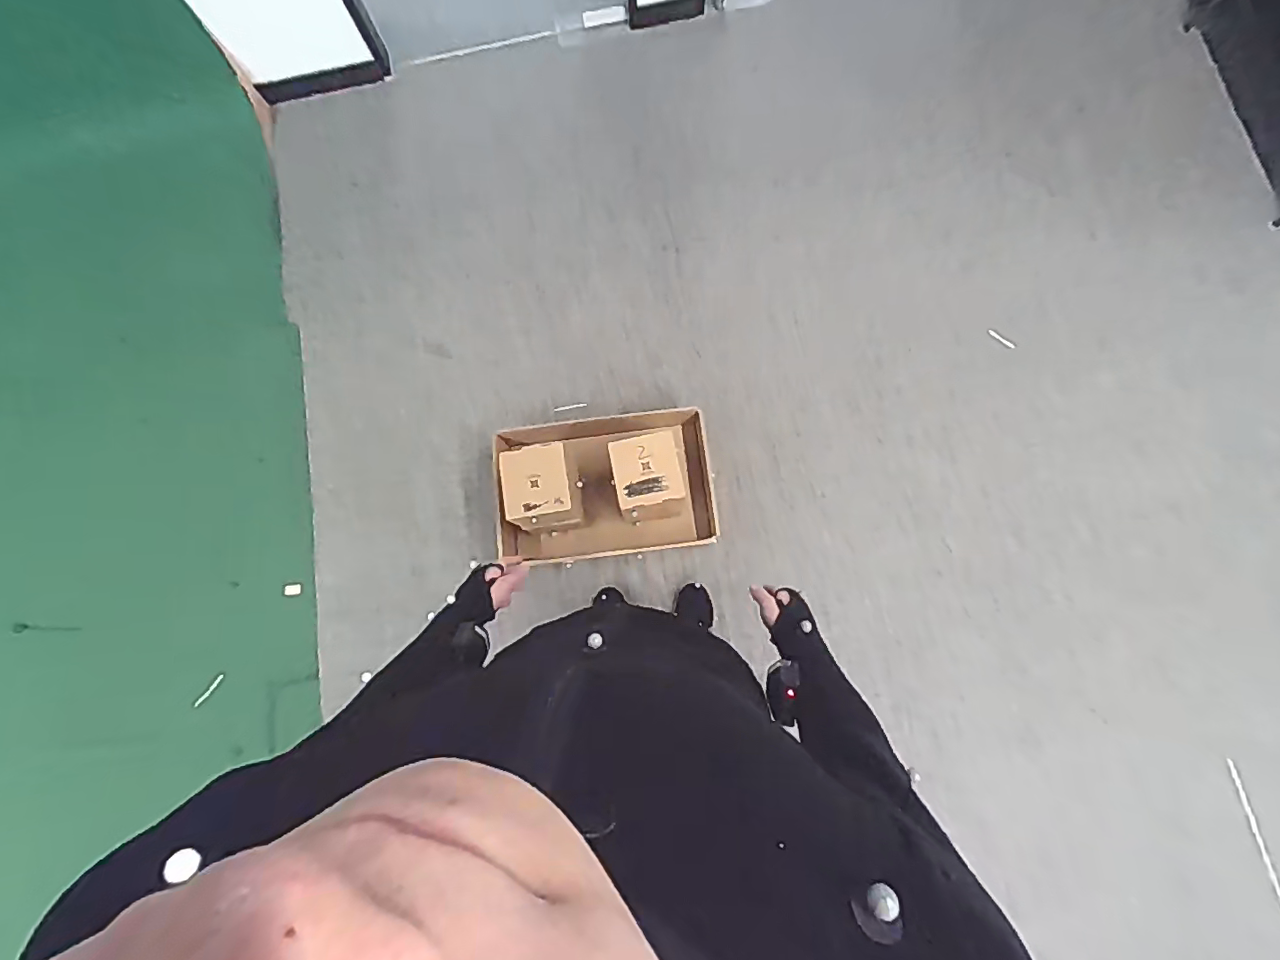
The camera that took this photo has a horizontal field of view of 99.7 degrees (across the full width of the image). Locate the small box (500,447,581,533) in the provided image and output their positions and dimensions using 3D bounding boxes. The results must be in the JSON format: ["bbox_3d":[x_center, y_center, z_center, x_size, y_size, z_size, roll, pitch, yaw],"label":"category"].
[{"bbox_3d":[-0.254,0.031,1.401,0.168,0.176,0.179,-9,76,2],"label":"small box"}]
